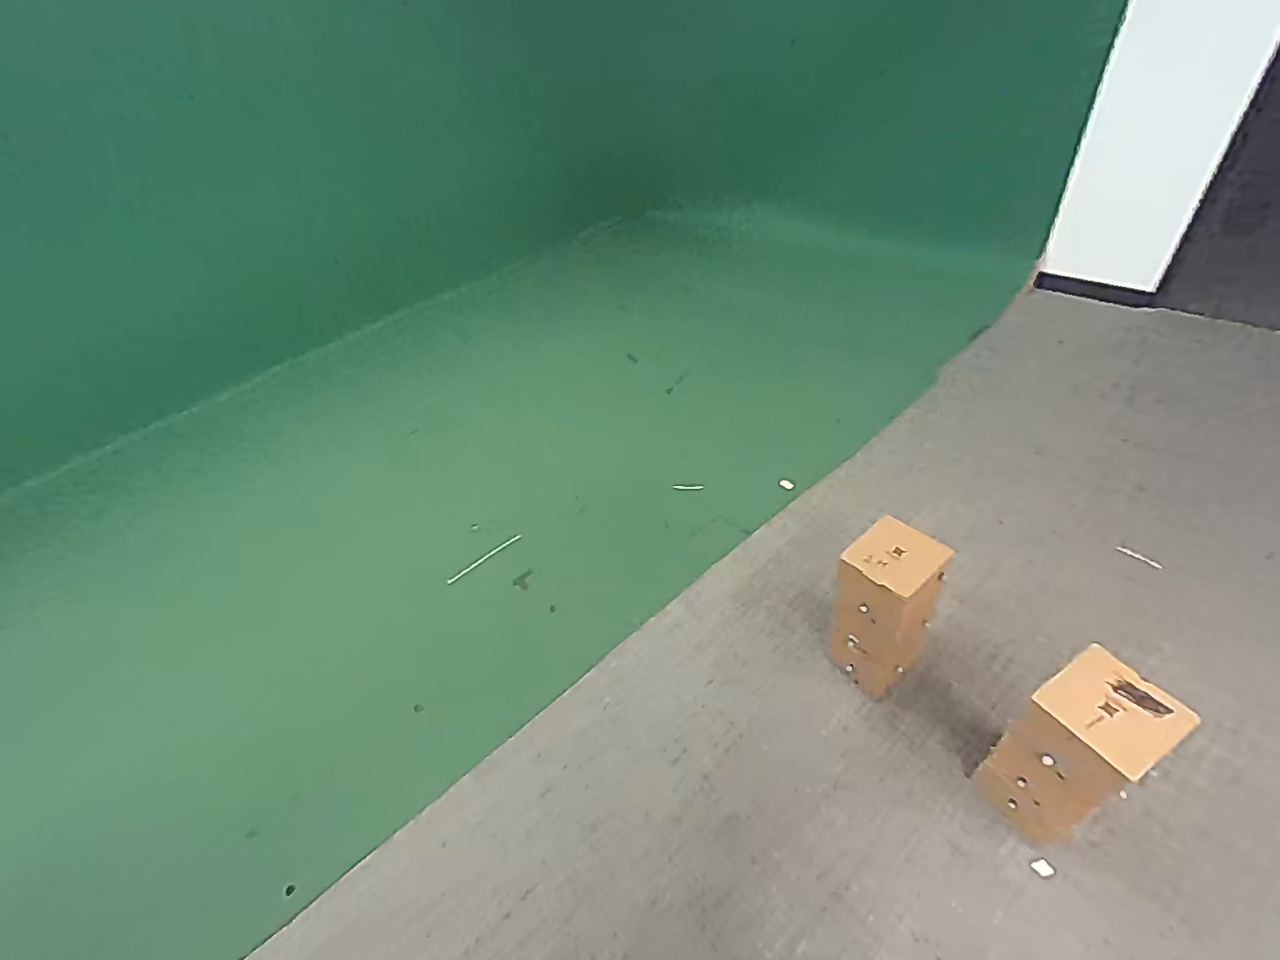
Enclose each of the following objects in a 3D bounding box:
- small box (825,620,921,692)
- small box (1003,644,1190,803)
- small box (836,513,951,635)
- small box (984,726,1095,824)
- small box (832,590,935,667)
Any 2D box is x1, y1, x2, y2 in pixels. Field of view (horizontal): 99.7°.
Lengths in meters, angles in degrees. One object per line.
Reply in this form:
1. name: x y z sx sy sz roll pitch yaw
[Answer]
1. small box: 0.626 0.438 1.471 0.179 0.176 0.168 -33 47 -17
2. small box: 0.794 0.435 0.964 0.179 0.176 0.168 -30 46 -13
3. small box: 0.568 0.216 1.237 0.179 0.176 0.168 -34 46 -20
4. small box: 0.830 0.544 1.081 0.179 0.176 0.168 -30 47 -15
5. small box: 0.598 0.328 1.355 0.179 0.176 0.168 -35 47 -19
